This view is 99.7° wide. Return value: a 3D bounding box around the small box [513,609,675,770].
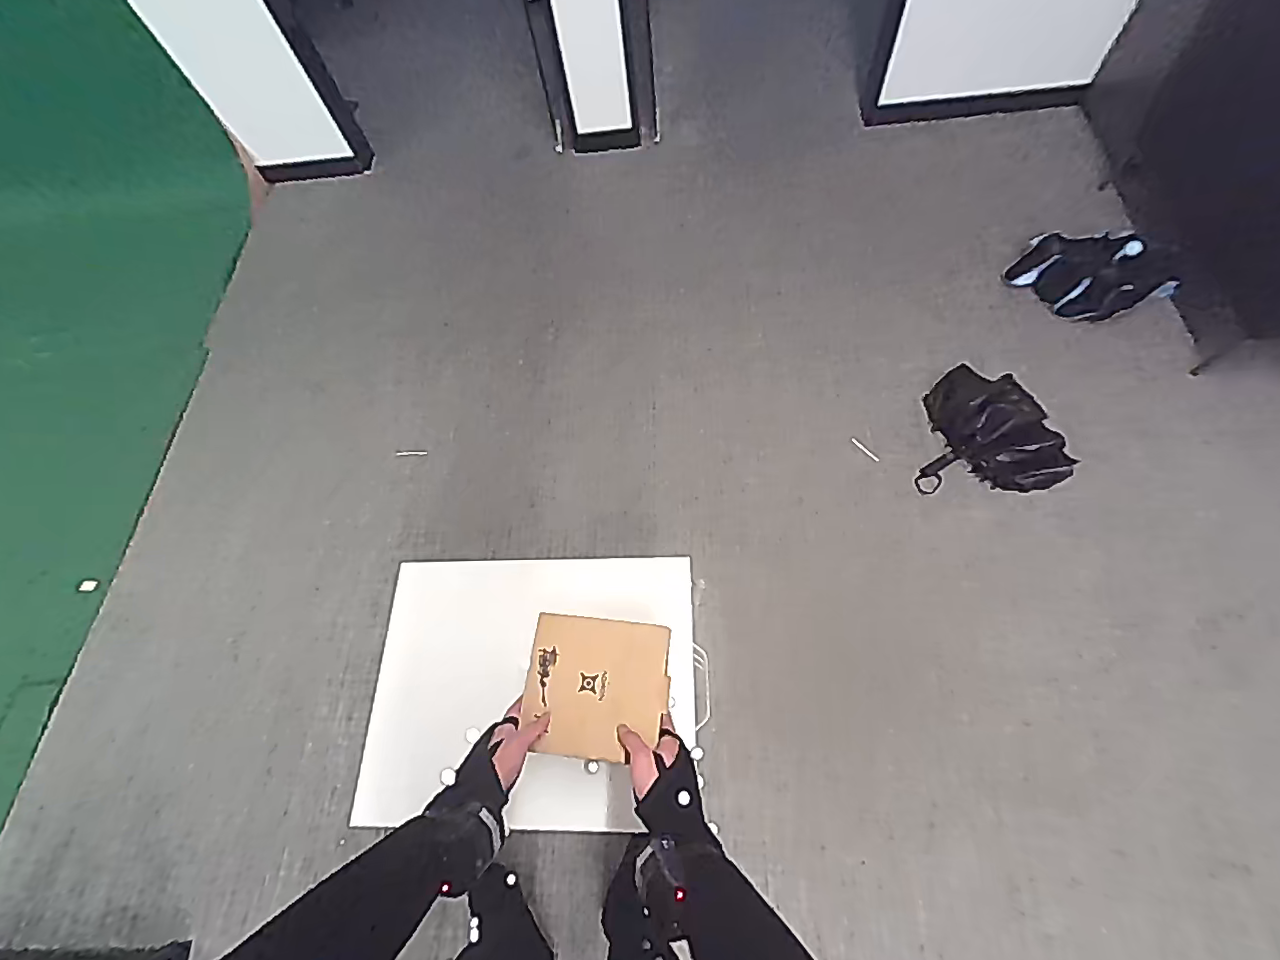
[{"bbox_3d":[-0.054,0.283,0.730,0.179,0.176,0.168,7,64,2],"label":"small box"}]
